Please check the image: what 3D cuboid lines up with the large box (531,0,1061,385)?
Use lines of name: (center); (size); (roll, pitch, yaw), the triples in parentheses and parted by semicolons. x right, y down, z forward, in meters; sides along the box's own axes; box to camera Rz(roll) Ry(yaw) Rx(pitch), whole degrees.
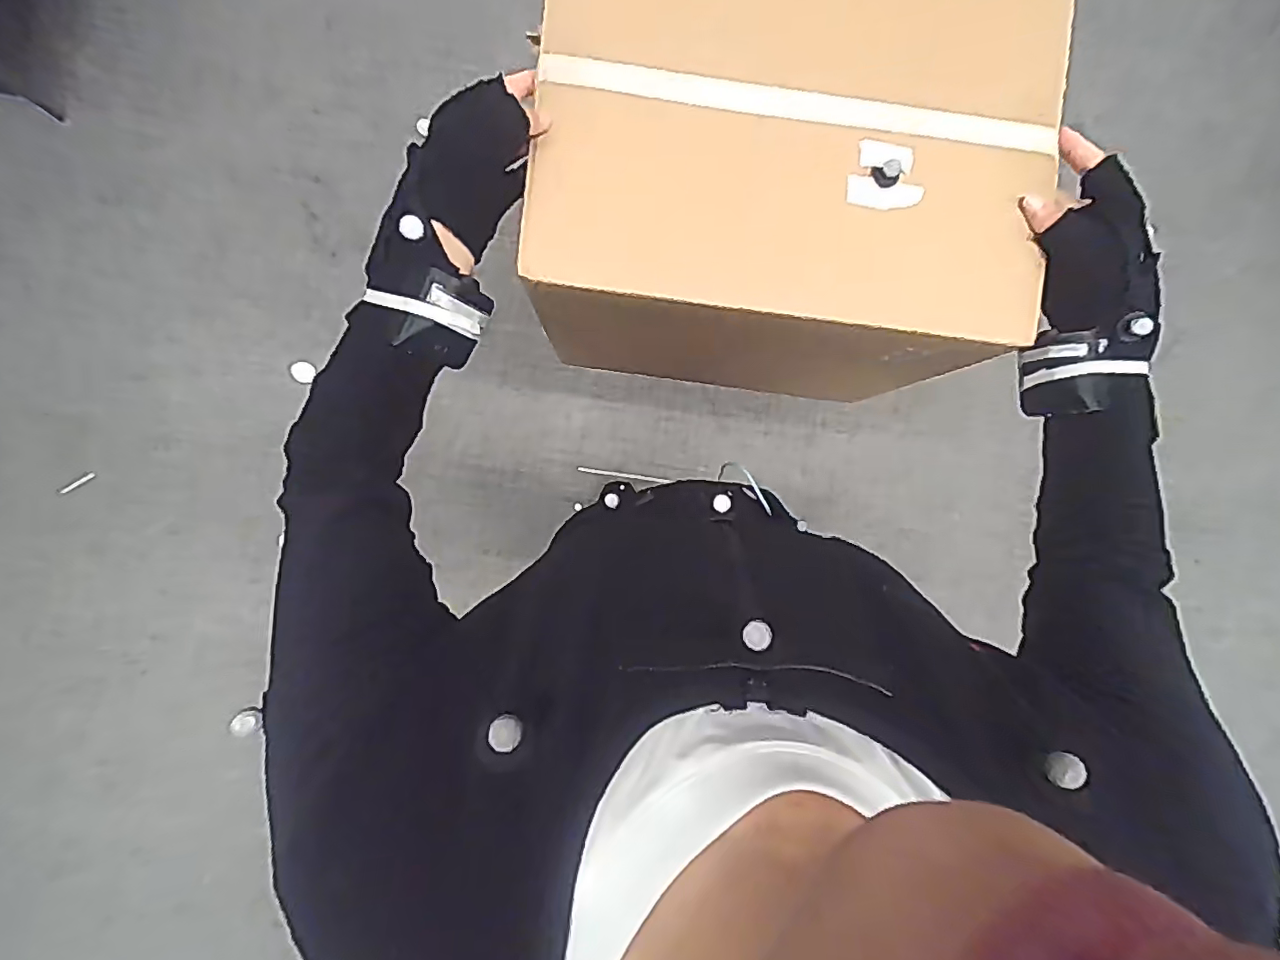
large box: (0.118, -0.295, 0.571); (0.408, 0.320, 0.320); (7, 91, -2)
